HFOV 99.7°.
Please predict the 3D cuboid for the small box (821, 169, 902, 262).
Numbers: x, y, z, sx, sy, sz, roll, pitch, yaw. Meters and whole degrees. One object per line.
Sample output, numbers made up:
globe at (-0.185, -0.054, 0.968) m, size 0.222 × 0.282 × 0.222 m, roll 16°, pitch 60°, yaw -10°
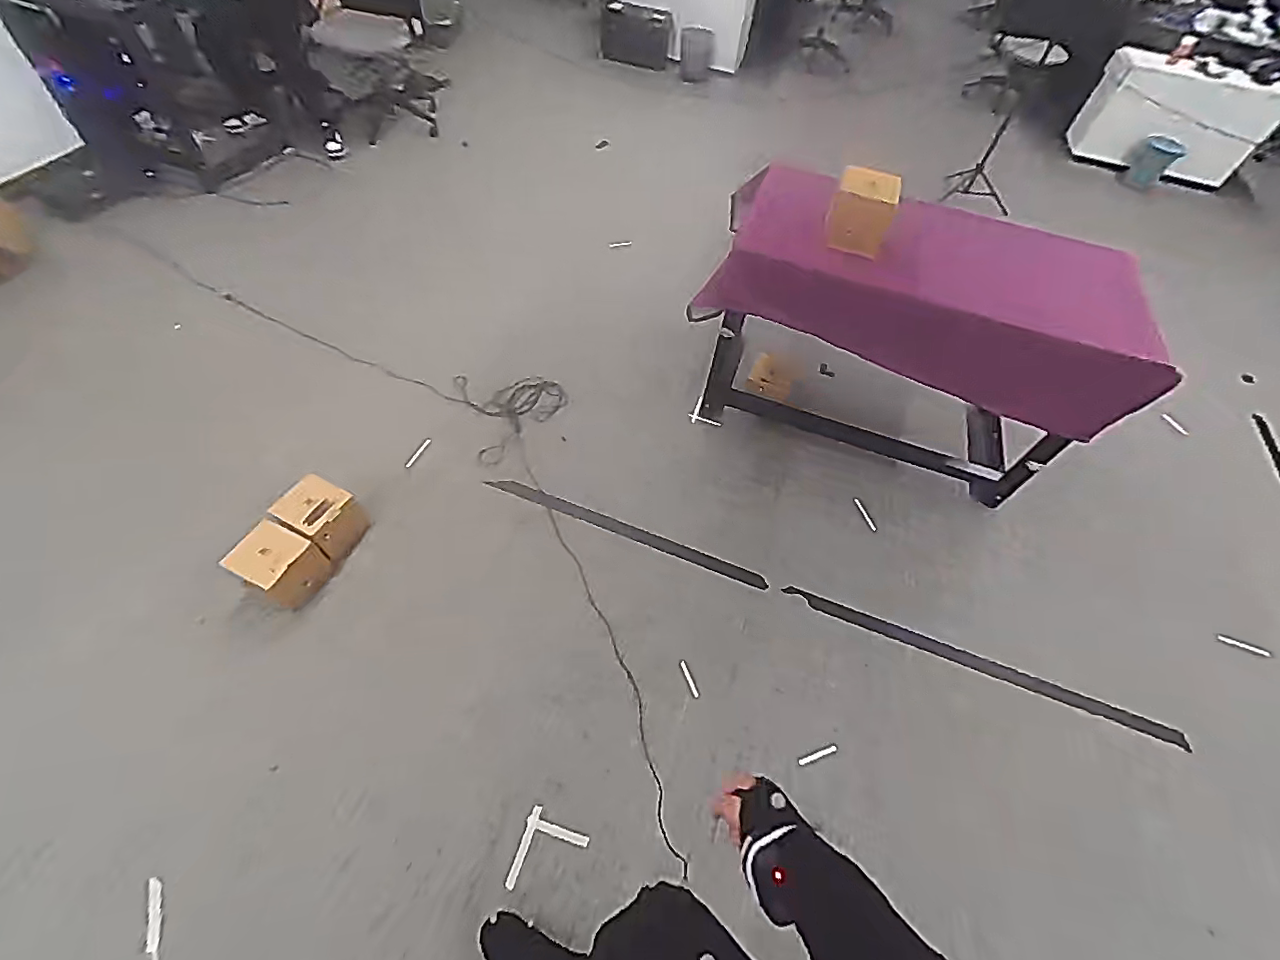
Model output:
small box at (0.658, -0.786, 1.612) m, size 0.168 × 0.176 × 0.179 m, roll 19°, pitch 55°, yaw 7°
